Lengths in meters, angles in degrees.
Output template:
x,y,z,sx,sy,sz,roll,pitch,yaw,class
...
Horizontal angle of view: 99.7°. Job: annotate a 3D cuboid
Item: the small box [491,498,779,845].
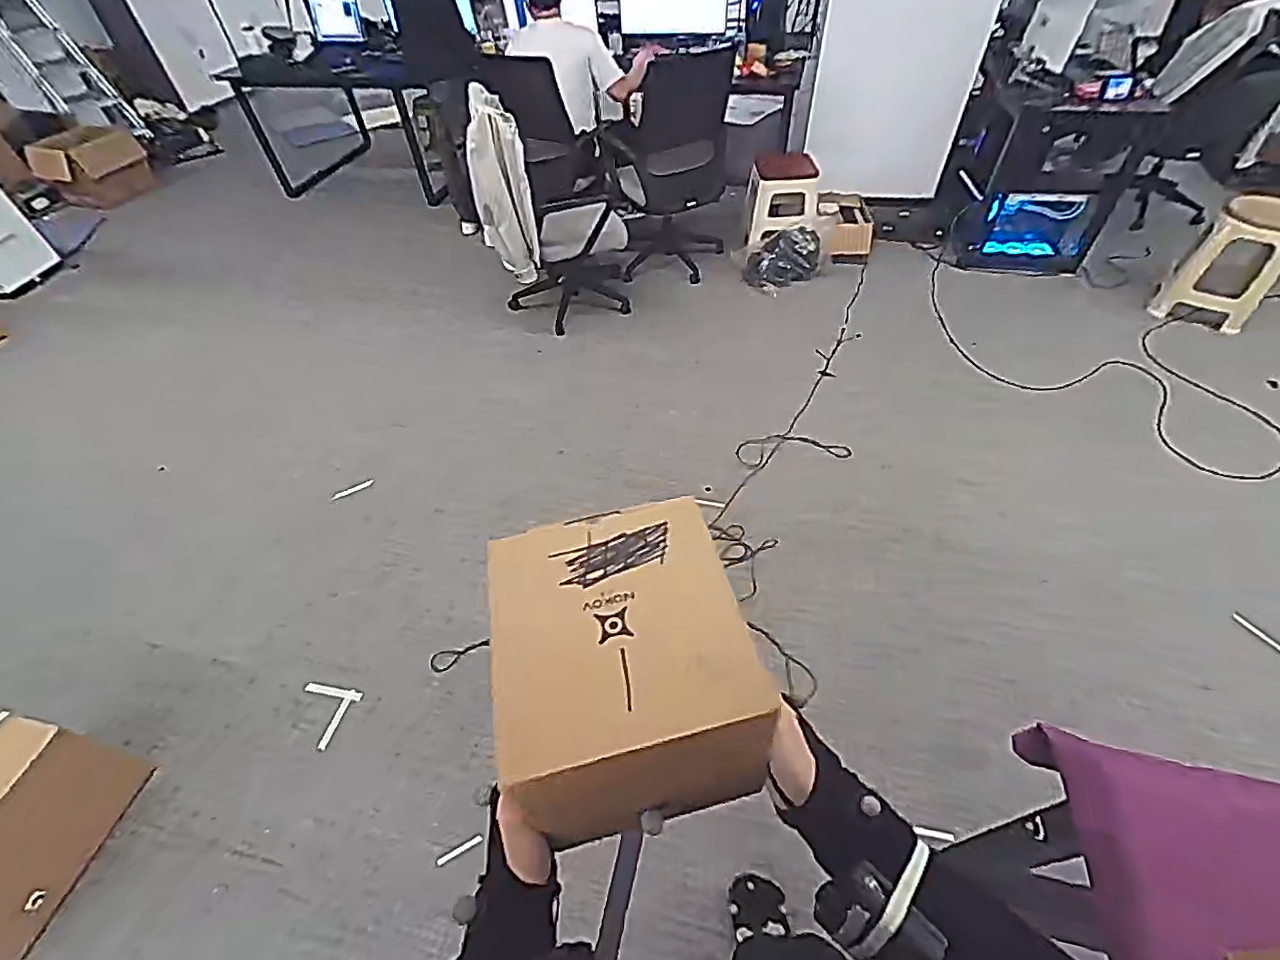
x,y,z,sx,sy,sz,roll,pitch,yaw,class
-0.010,0.146,0.417,0.168,0.176,0.179,-14,46,-6,small box
